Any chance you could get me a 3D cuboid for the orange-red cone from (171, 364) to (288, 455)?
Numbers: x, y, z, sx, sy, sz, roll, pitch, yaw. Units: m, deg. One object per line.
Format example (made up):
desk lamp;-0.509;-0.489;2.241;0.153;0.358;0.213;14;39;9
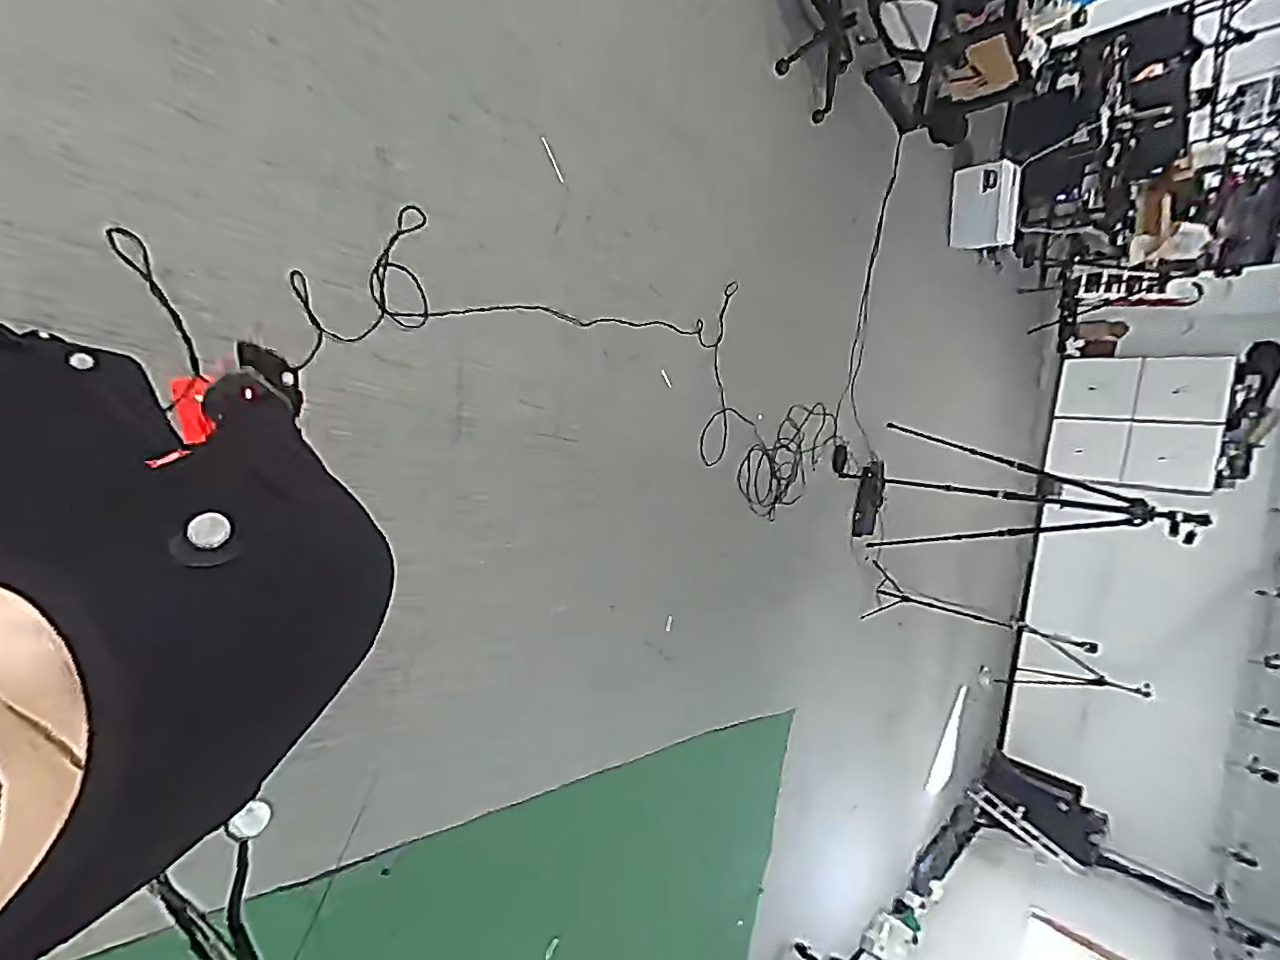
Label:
orange-red cone;-0.812;-0.137;1.115;0.198;0.360;0.199;-15;109;-42
